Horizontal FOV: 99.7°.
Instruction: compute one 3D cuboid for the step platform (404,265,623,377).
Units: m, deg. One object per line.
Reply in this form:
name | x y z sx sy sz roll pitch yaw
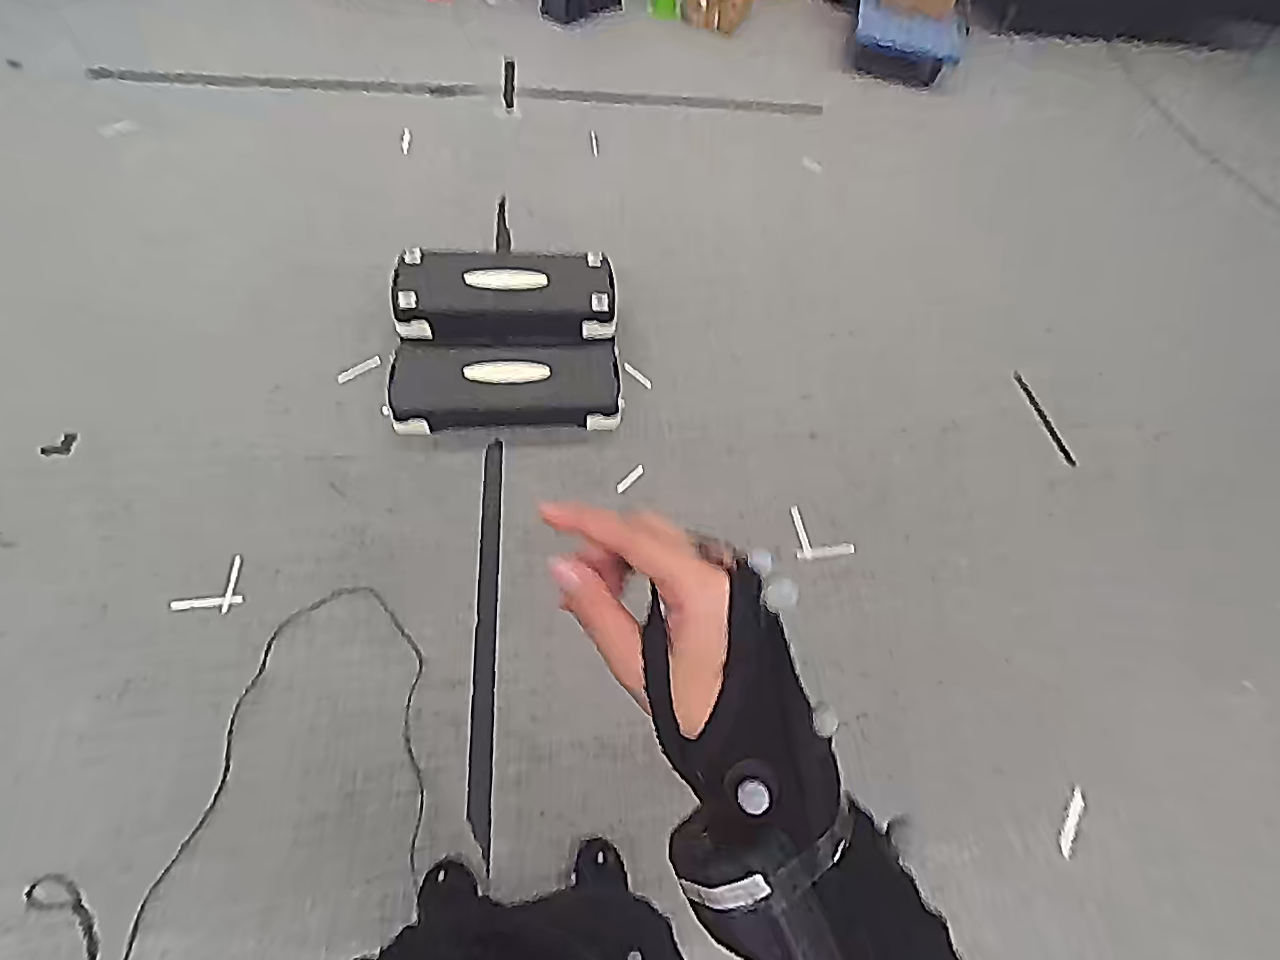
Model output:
step platform | -0.395 -0.516 1.758 0.684 0.204 0.286 2 58 -7
